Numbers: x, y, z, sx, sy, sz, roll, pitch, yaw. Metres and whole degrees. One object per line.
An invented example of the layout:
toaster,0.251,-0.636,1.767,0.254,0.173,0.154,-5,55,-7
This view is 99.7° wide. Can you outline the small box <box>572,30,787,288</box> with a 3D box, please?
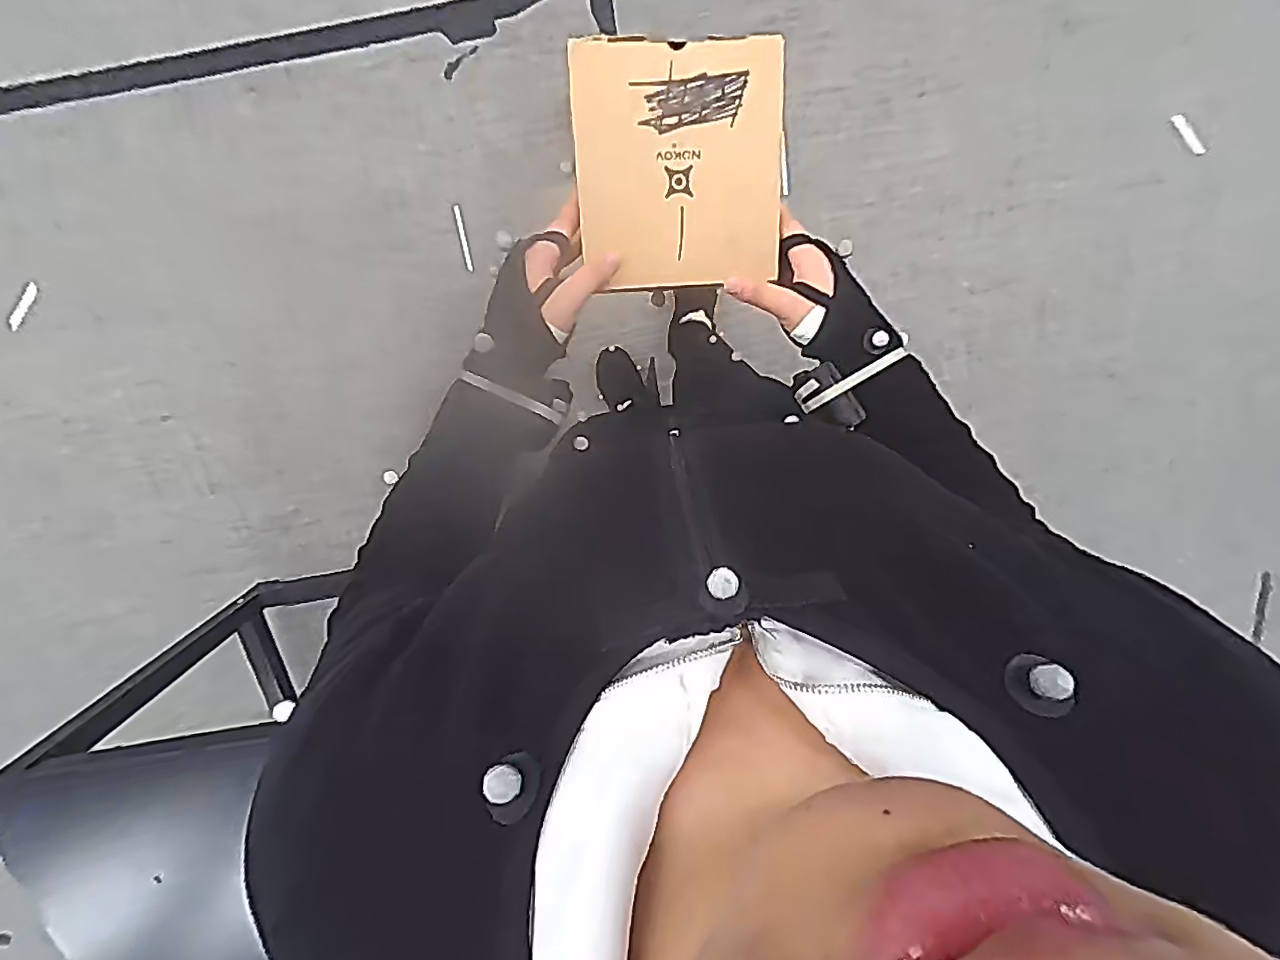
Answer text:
small box,0.025,-0.275,0.502,0.168,0.176,0.179,-4,110,-5
